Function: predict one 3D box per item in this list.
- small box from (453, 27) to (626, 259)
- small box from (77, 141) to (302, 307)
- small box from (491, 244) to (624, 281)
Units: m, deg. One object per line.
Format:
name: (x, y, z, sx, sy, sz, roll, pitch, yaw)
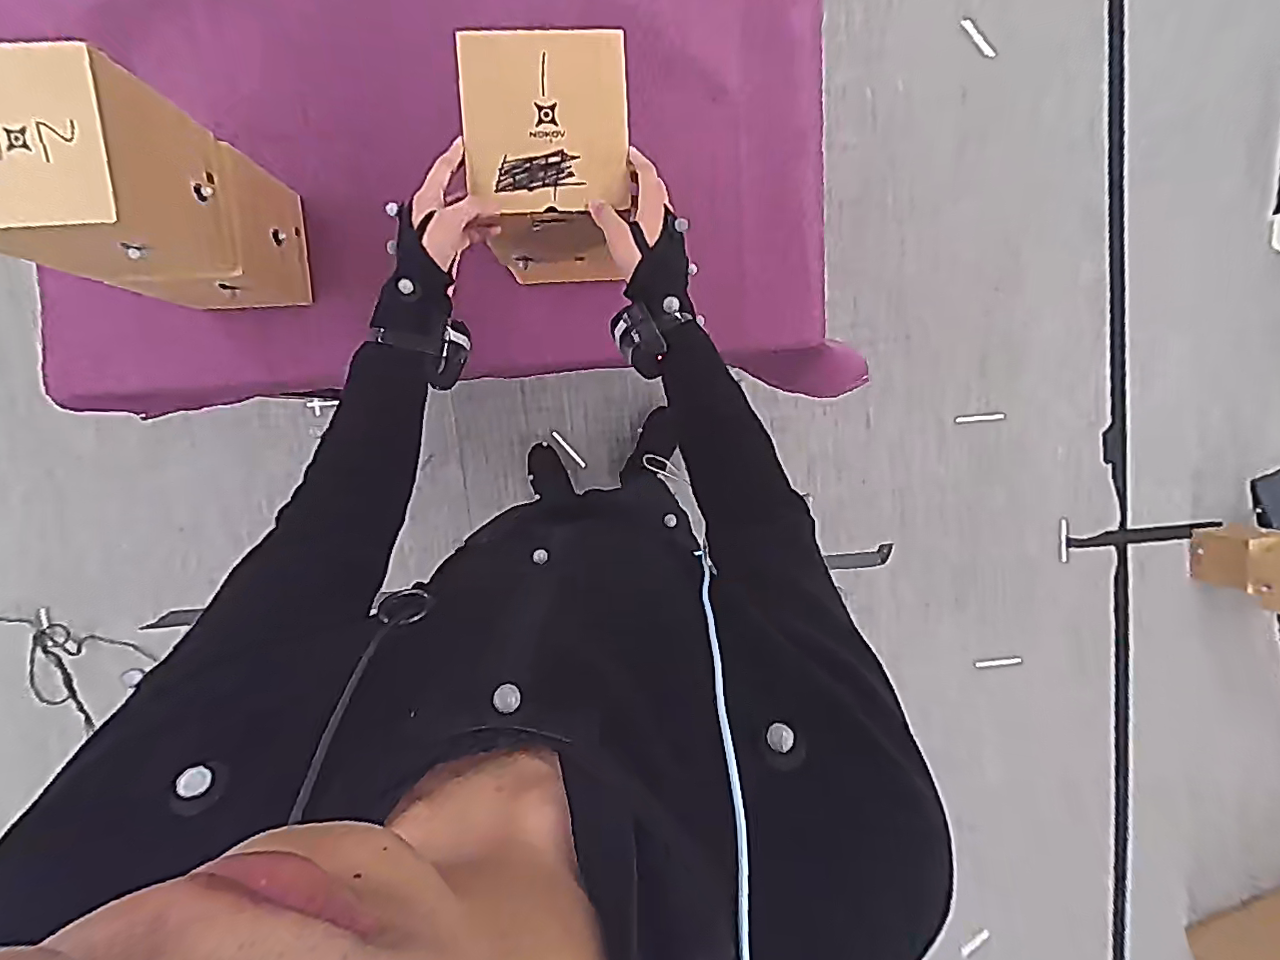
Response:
small box: (-0.100, -0.359, 0.611, 0.168, 0.176, 0.179, -3, 95, -3)
small box: (-0.599, -0.342, 0.750, 0.179, 0.176, 0.168, -3, 96, -3)
small box: (-0.114, -0.390, 0.773, 0.179, 0.176, 0.168, -4, 96, -3)
